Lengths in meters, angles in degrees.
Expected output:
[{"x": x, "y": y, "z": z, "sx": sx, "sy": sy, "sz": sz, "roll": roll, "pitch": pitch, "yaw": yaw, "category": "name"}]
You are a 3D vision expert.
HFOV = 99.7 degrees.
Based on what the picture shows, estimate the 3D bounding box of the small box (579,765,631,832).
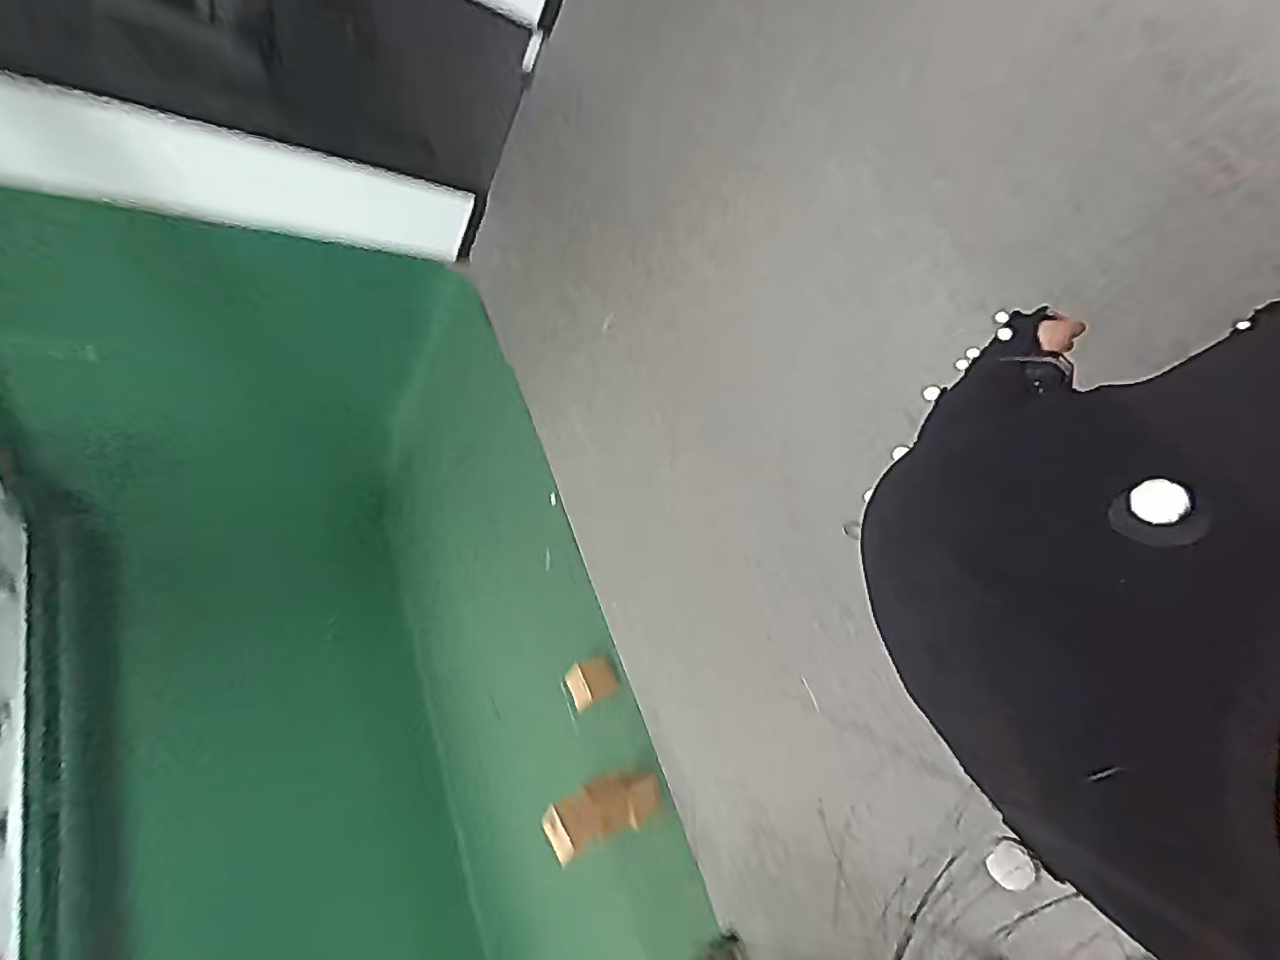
[{"x": -0.153, "y": 1.404, "z": 2.401, "sx": 0.179, "sy": 0.176, "sz": 0.168, "roll": 11, "pitch": 102, "yaw": 49, "category": "small box"}]

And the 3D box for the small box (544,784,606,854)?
[{"x": -0.275, "y": 1.426, "z": 2.292, "sx": 0.179, "sy": 0.176, "sz": 0.168, "roll": 46, "pitch": 127, "yaw": 35, "category": "small box"}]

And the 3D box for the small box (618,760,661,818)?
[{"x": -0.020, "y": 1.419, "z": 2.499, "sx": 0.179, "sy": 0.176, "sz": 0.168, "roll": -22, "pitch": 78, "yaw": 49, "category": "small box"}]

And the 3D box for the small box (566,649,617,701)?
[{"x": -0.240, "y": 0.973, "z": 2.696, "sx": 0.168, "sy": 0.176, "sz": 0.179, "roll": 59, "pitch": 135, "yaw": 27, "category": "small box"}]
